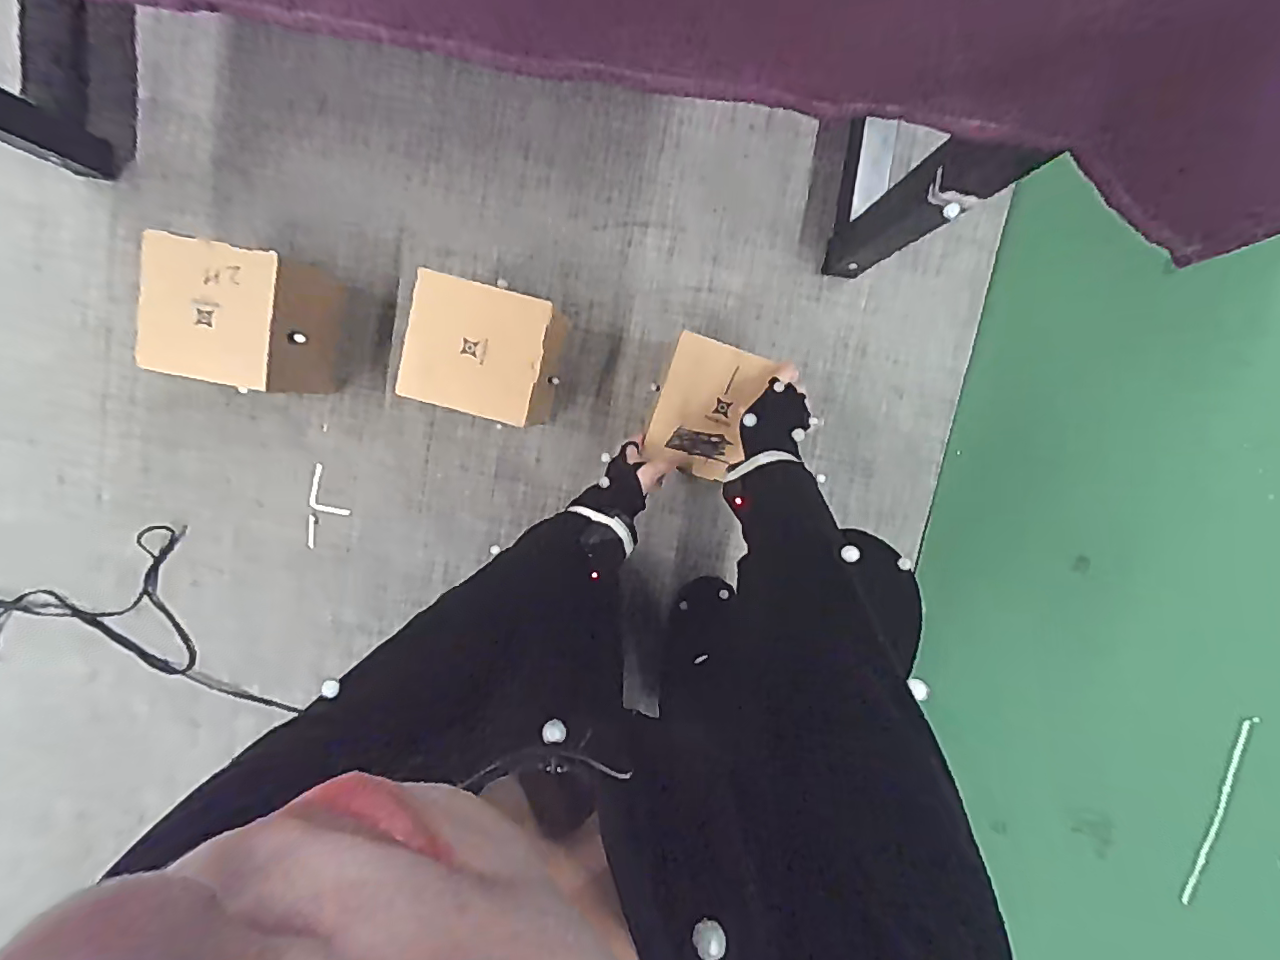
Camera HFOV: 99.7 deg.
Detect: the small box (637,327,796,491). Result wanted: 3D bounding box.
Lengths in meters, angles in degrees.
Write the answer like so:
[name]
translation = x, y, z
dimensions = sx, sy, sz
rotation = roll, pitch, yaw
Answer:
[small box]
translation = 0.102, -0.102, 0.791
dimensions = 0.168, 0.176, 0.179
rotation = 19, 97, -3
